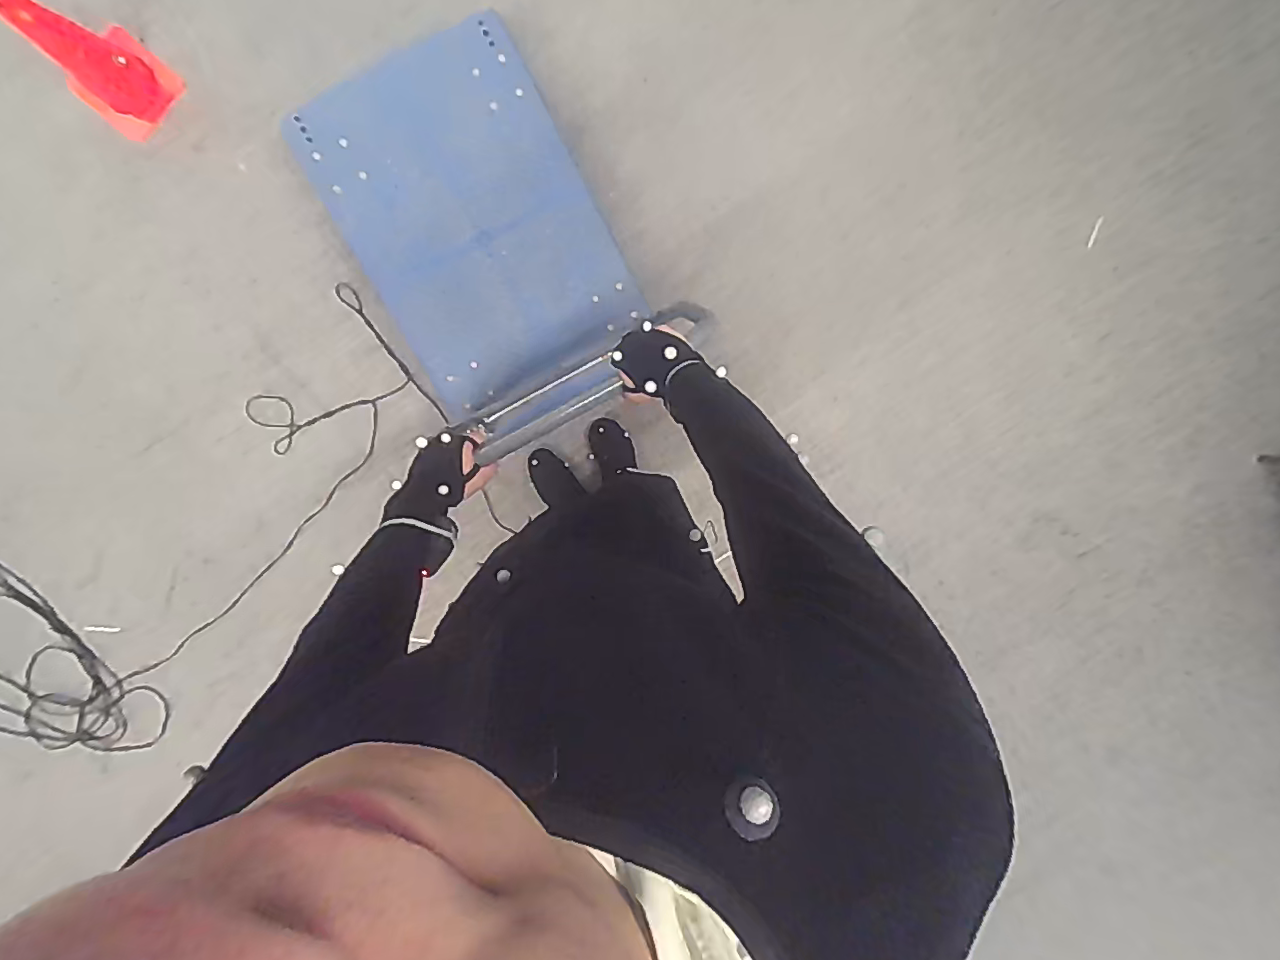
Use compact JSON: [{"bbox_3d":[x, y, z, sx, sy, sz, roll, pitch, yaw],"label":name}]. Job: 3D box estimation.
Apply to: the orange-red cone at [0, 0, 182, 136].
[{"bbox_3d":[-1.260,-0.962,1.176,0.198,0.360,0.199,42,94,-9],"label":"orange-red cone"}]
